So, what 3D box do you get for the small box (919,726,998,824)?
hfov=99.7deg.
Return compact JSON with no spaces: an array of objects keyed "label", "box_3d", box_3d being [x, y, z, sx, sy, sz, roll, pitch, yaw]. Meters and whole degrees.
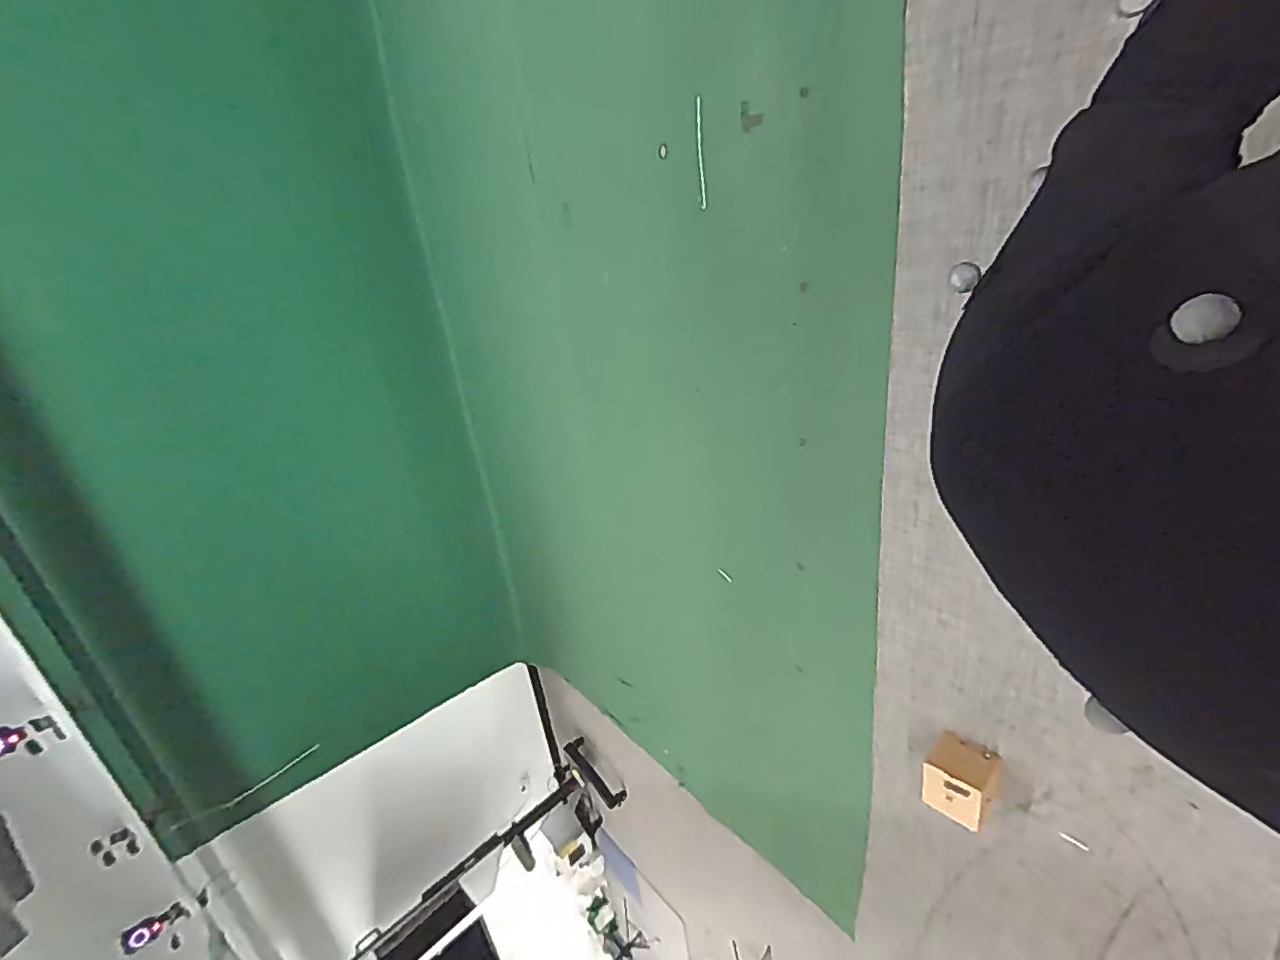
[{"label":"small box","box_3d":[1.011,0.925,1.714,0.168,0.176,0.179,17,123,48]}]
